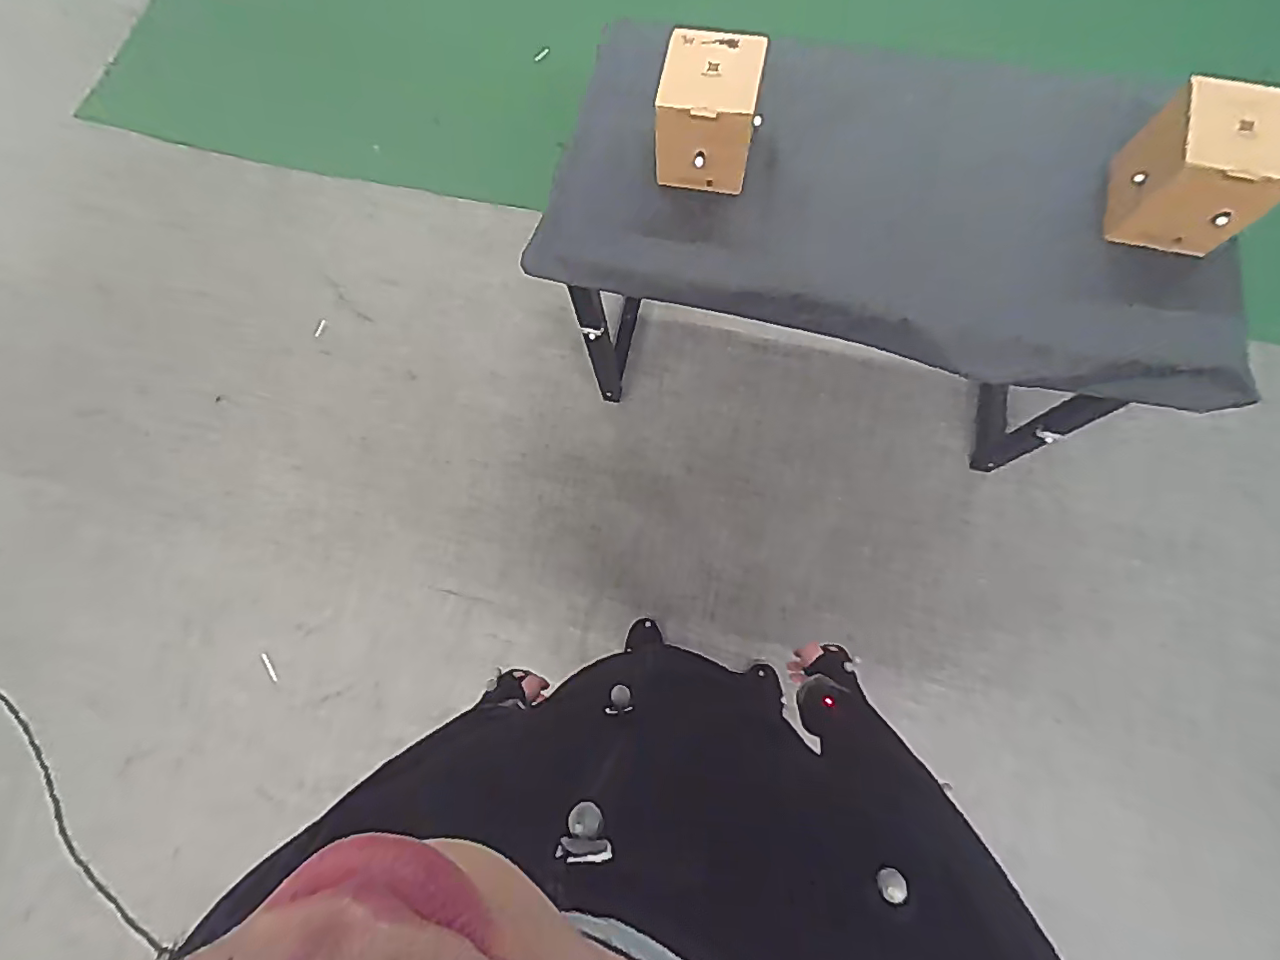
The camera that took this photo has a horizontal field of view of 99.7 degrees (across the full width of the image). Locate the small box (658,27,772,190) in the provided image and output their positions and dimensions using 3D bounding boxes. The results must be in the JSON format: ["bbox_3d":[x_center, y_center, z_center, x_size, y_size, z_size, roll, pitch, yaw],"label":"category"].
[{"bbox_3d":[0.132,-0.662,0.978,0.168,0.176,0.179,11,76,6],"label":"small box"}]

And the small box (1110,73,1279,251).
[{"bbox_3d":[0.919,-0.508,0.884,0.168,0.176,0.179,15,76,7],"label":"small box"}]
